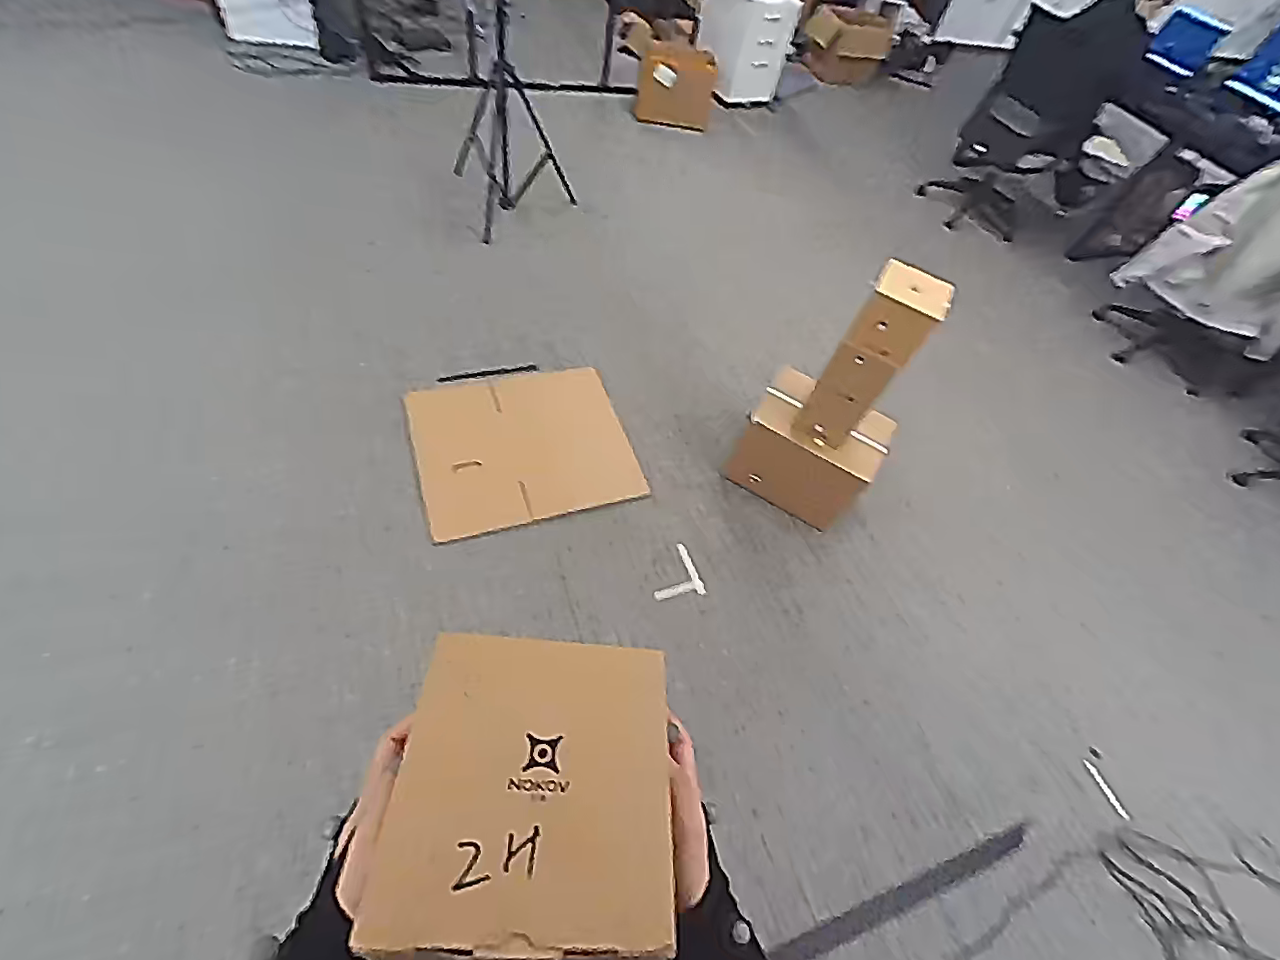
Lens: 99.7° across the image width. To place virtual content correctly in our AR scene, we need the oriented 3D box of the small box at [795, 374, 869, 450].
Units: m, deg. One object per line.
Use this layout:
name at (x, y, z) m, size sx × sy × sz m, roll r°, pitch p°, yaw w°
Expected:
small box at (0.591, -0.226, 1.629) m, size 0.168 × 0.176 × 0.179 m, roll 29°, pitch 55°, yaw 10°

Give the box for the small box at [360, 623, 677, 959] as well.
small box at (-0.074, 0.230, 0.390) m, size 0.168 × 0.176 × 0.179 m, roll 6°, pitch 43°, yaw -7°

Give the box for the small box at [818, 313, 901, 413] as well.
small box at (0.619, -0.322, 1.499) m, size 0.168 × 0.176 × 0.179 m, roll 29°, pitch 54°, yaw 10°

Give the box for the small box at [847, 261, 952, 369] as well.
small box at (0.648, -0.412, 1.366) m, size 0.168 × 0.176 × 0.179 m, roll 29°, pitch 54°, yaw 10°
